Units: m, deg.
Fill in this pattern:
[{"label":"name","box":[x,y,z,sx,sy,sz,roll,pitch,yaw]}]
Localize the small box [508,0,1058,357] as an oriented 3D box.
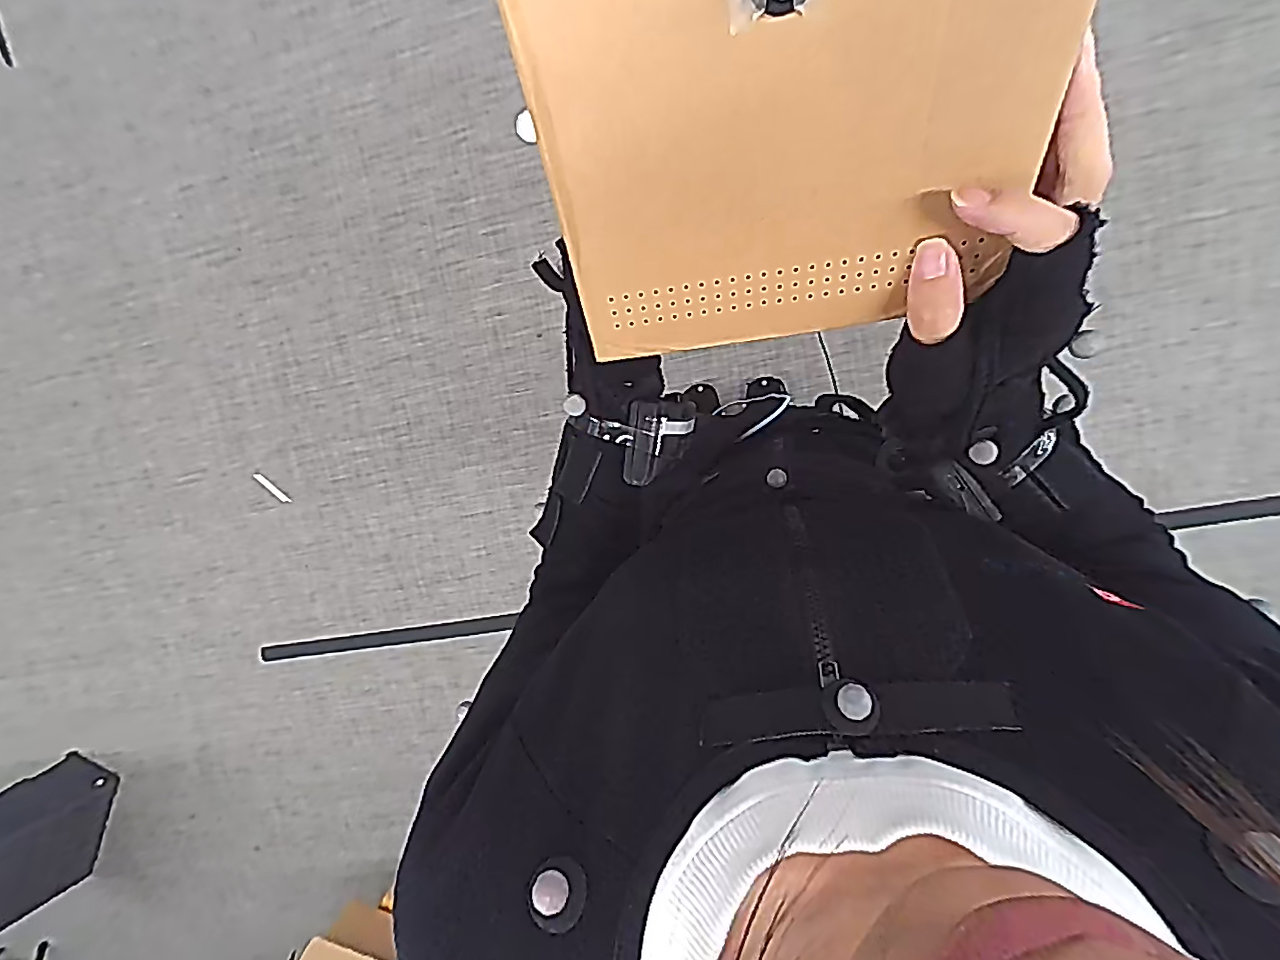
[{"label":"small box","box":[0.054,-0.173,0.243,0.179,0.168,0.176,-6,138,8]}]
